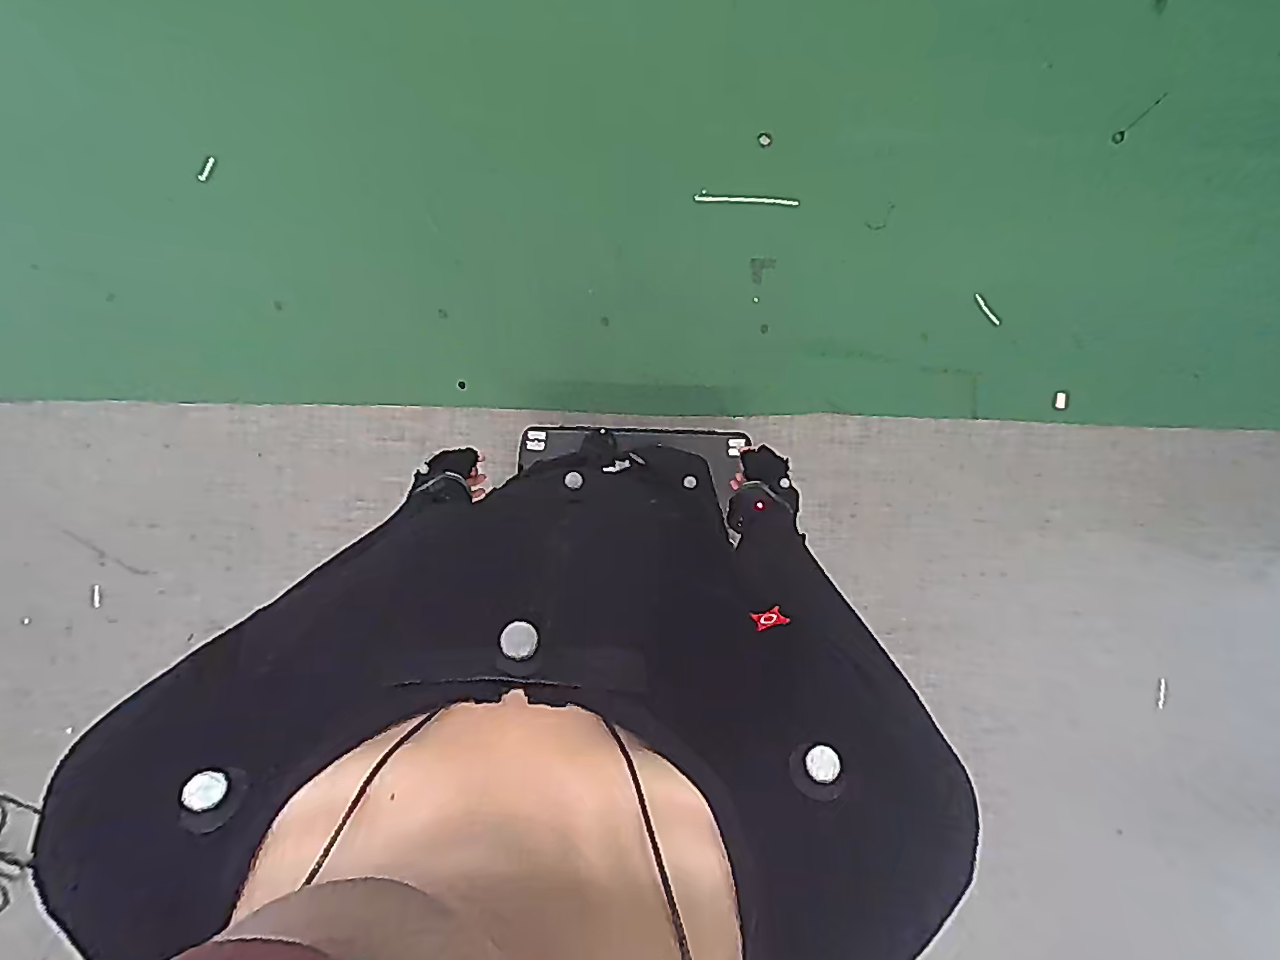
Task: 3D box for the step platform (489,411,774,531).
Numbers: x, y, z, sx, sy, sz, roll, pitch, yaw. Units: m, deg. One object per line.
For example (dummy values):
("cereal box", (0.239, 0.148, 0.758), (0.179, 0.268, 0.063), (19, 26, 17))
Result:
("step platform", (-0.020, -0.027, 1.385), (0.684, 0.204, 0.286), (1, 95, -1))
